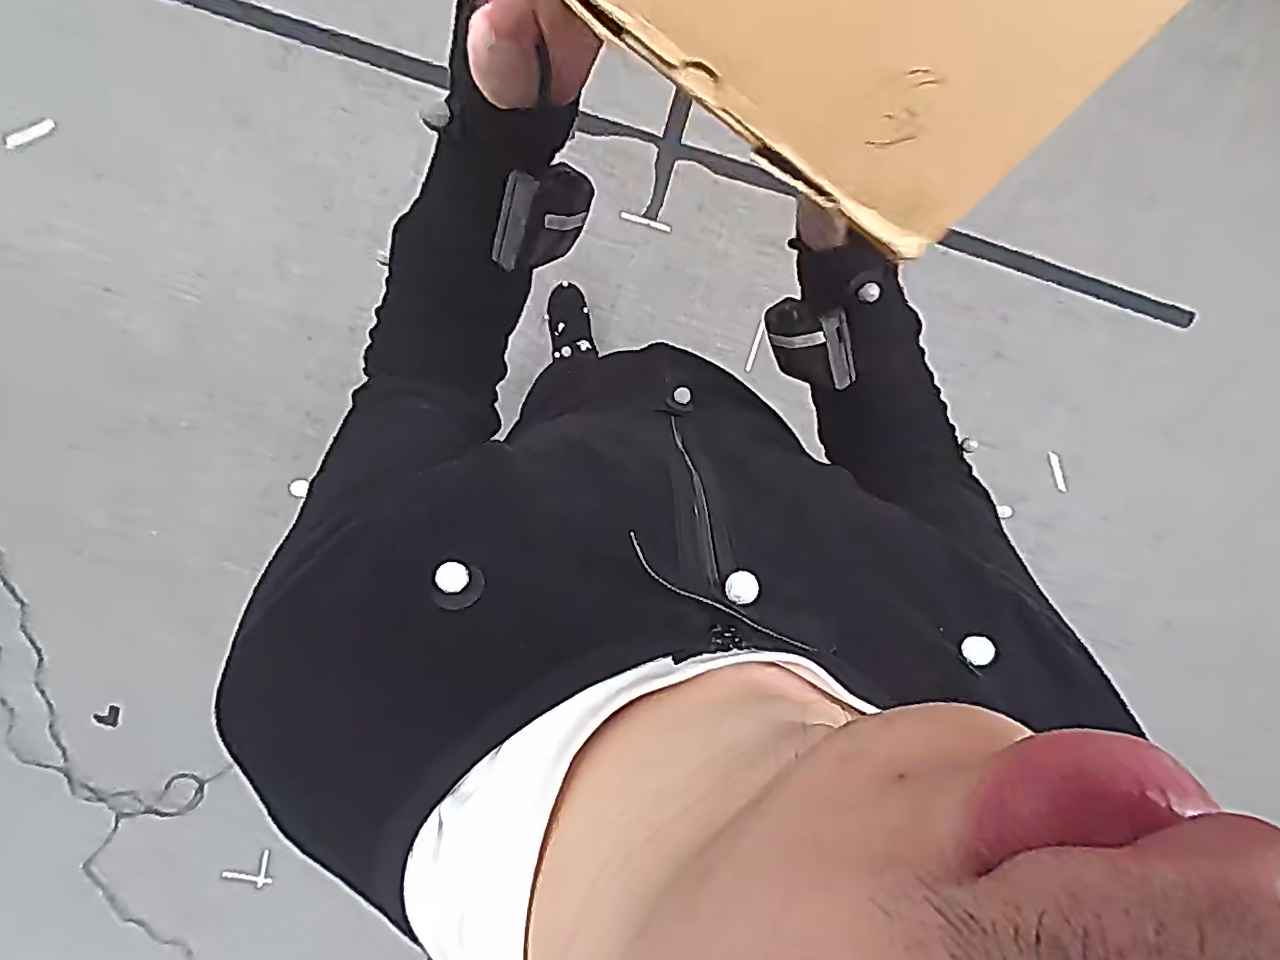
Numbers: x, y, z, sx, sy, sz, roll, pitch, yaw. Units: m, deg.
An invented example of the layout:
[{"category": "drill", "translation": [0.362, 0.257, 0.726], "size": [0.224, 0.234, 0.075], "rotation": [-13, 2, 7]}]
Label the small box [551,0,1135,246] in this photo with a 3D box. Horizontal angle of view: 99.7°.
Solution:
[{"category": "small box", "translation": [0.068, -0.215, 0.157], "size": [0.168, 0.176, 0.179], "rotation": [27, 133, -15]}]
